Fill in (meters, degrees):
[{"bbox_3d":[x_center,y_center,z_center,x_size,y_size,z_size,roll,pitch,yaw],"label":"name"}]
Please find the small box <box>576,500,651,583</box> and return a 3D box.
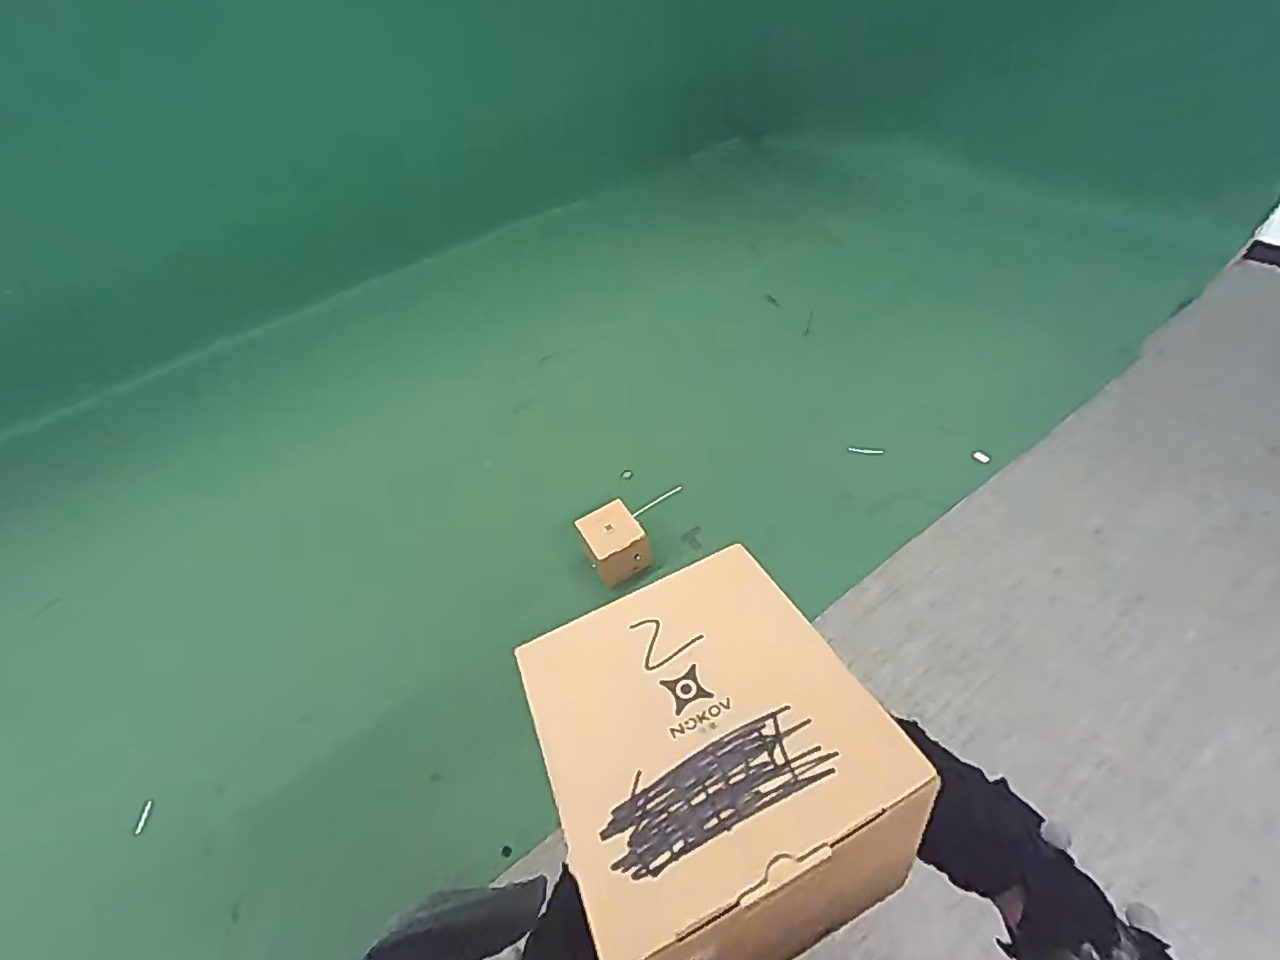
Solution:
[{"bbox_3d":[-0.079,0.204,1.724,0.168,0.176,0.179,-28,51,-14],"label":"small box"}]
